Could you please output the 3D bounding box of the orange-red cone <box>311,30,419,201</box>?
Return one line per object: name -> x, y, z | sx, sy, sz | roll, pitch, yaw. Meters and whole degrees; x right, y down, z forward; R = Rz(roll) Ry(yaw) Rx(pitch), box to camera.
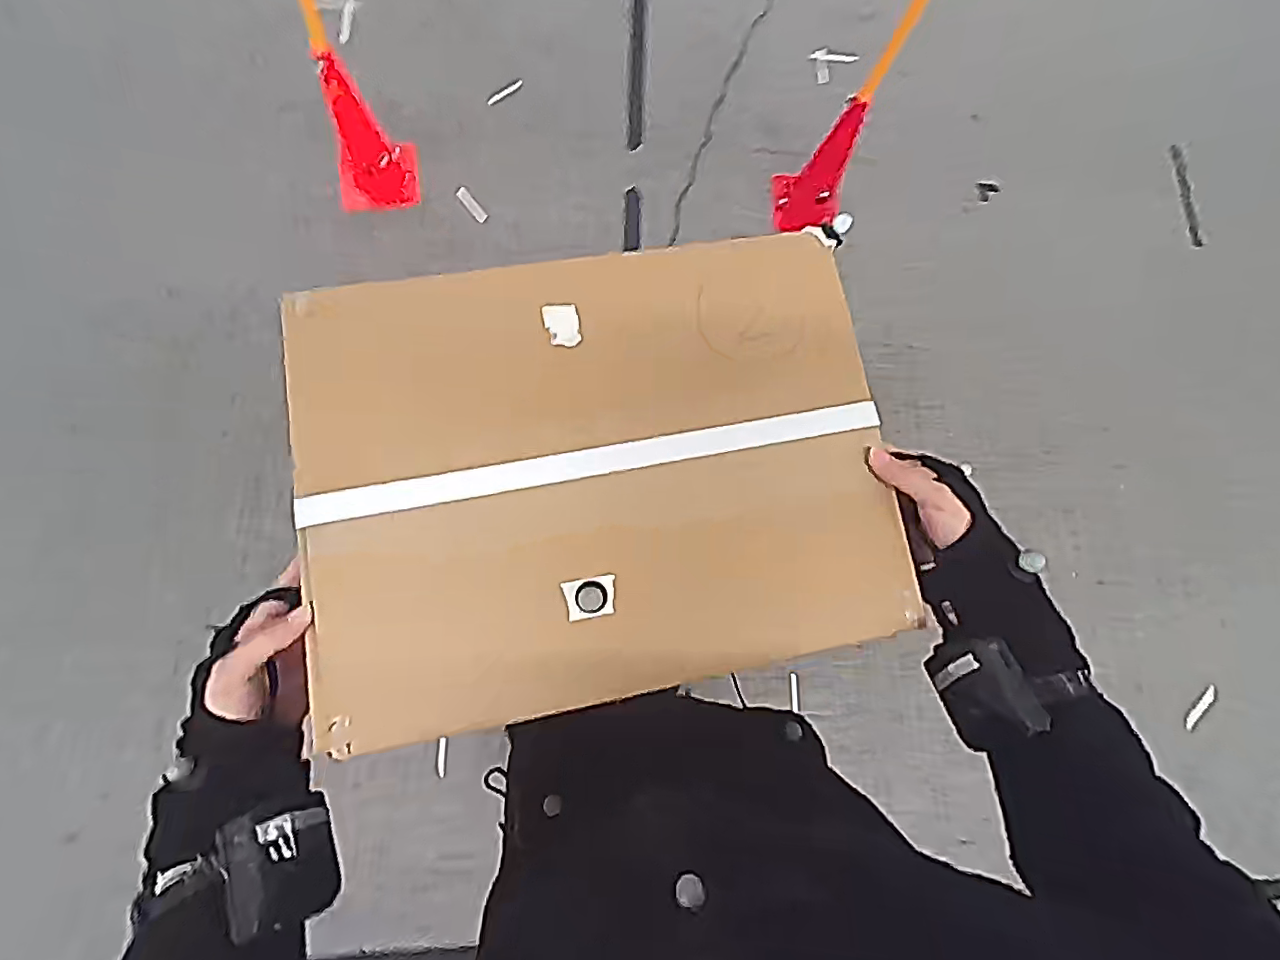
orange-red cone -> -0.684, -0.879, 1.292 | 0.199, 0.360, 0.198 | -6, 77, -7
